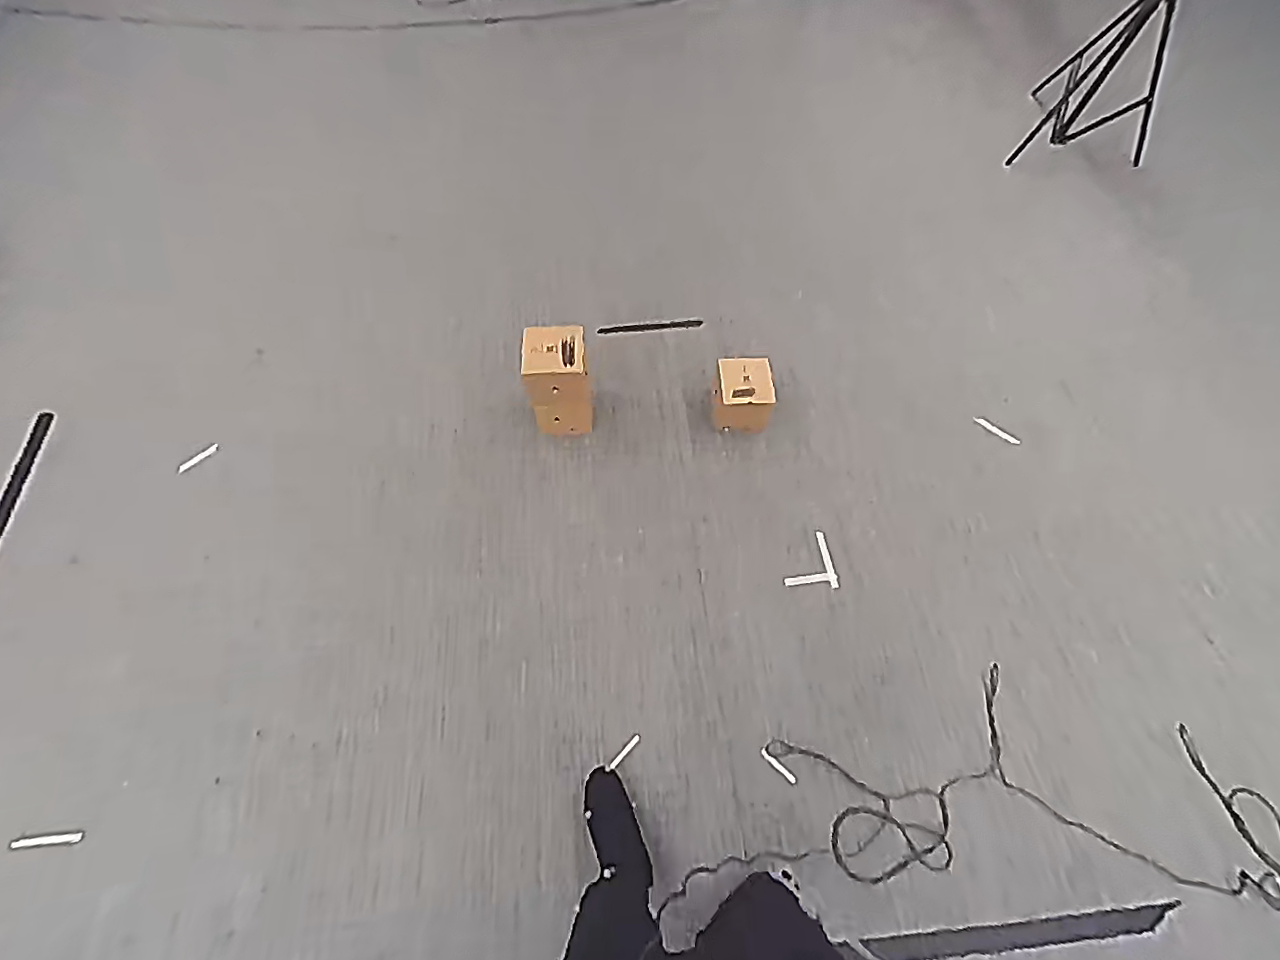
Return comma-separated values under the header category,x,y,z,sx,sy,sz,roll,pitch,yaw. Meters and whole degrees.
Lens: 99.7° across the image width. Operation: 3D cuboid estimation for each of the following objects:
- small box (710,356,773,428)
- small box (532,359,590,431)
category,x,y,z,sx,sy,sz,roll,pitch,yaw
small box,0.324,-0.281,1.759,0.168,0.176,0.179,-1,64,-3
small box,-0.249,-0.266,1.739,0.168,0.176,0.179,-4,64,-3
